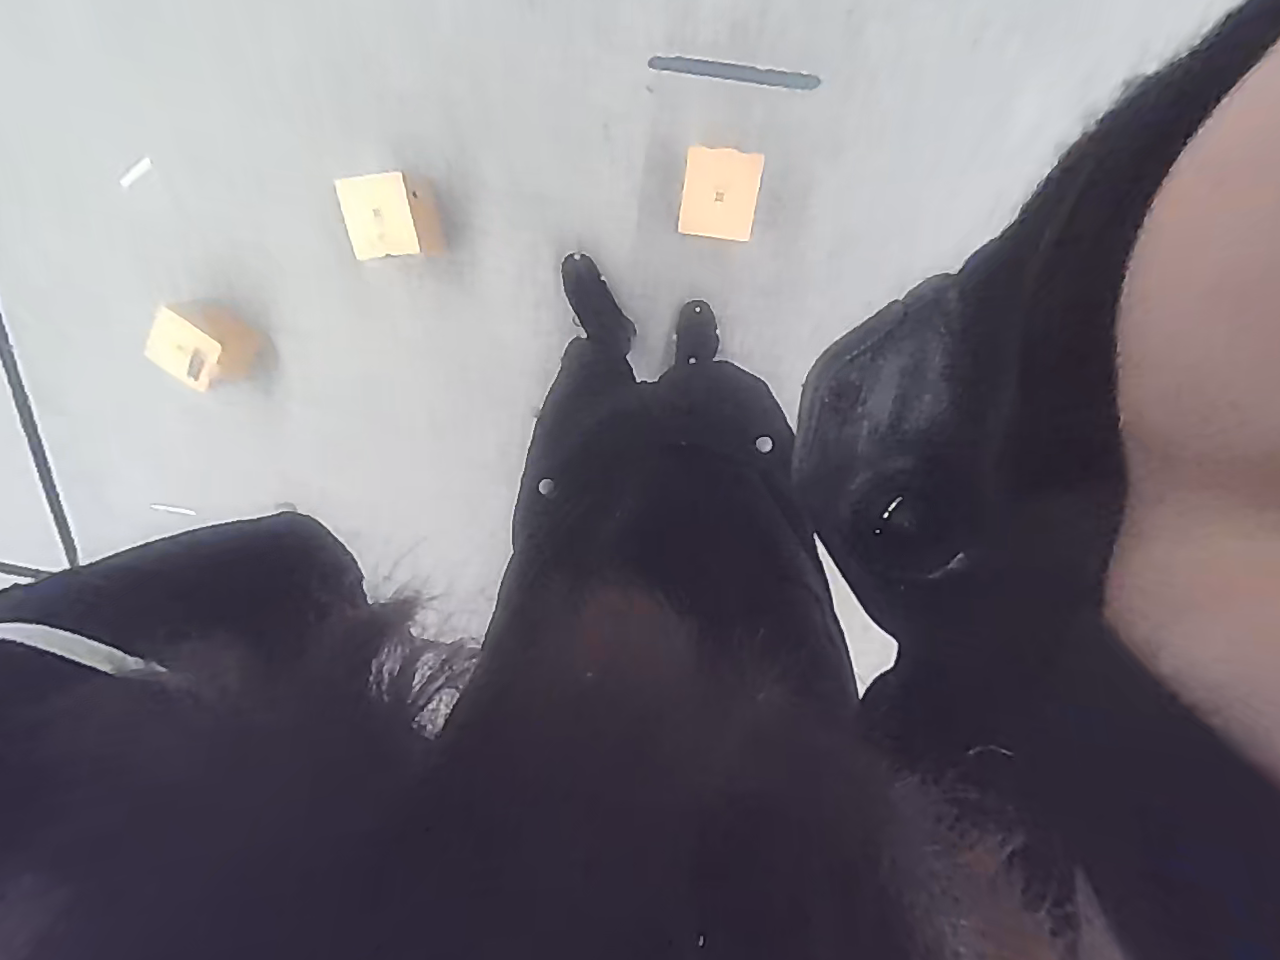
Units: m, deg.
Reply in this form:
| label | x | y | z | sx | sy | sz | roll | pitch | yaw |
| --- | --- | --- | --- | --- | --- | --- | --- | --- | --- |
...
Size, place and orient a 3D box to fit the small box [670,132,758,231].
| label | x | y | z | sx | sy | sz | roll | pitch | yaw |
| --- | --- | --- | --- | --- | --- | --- | --- | --- | --- |
| small box | 0.166 | -0.681 | 1.253 | 0.168 | 0.176 | 0.179 | 8 | 114 | 1 |
